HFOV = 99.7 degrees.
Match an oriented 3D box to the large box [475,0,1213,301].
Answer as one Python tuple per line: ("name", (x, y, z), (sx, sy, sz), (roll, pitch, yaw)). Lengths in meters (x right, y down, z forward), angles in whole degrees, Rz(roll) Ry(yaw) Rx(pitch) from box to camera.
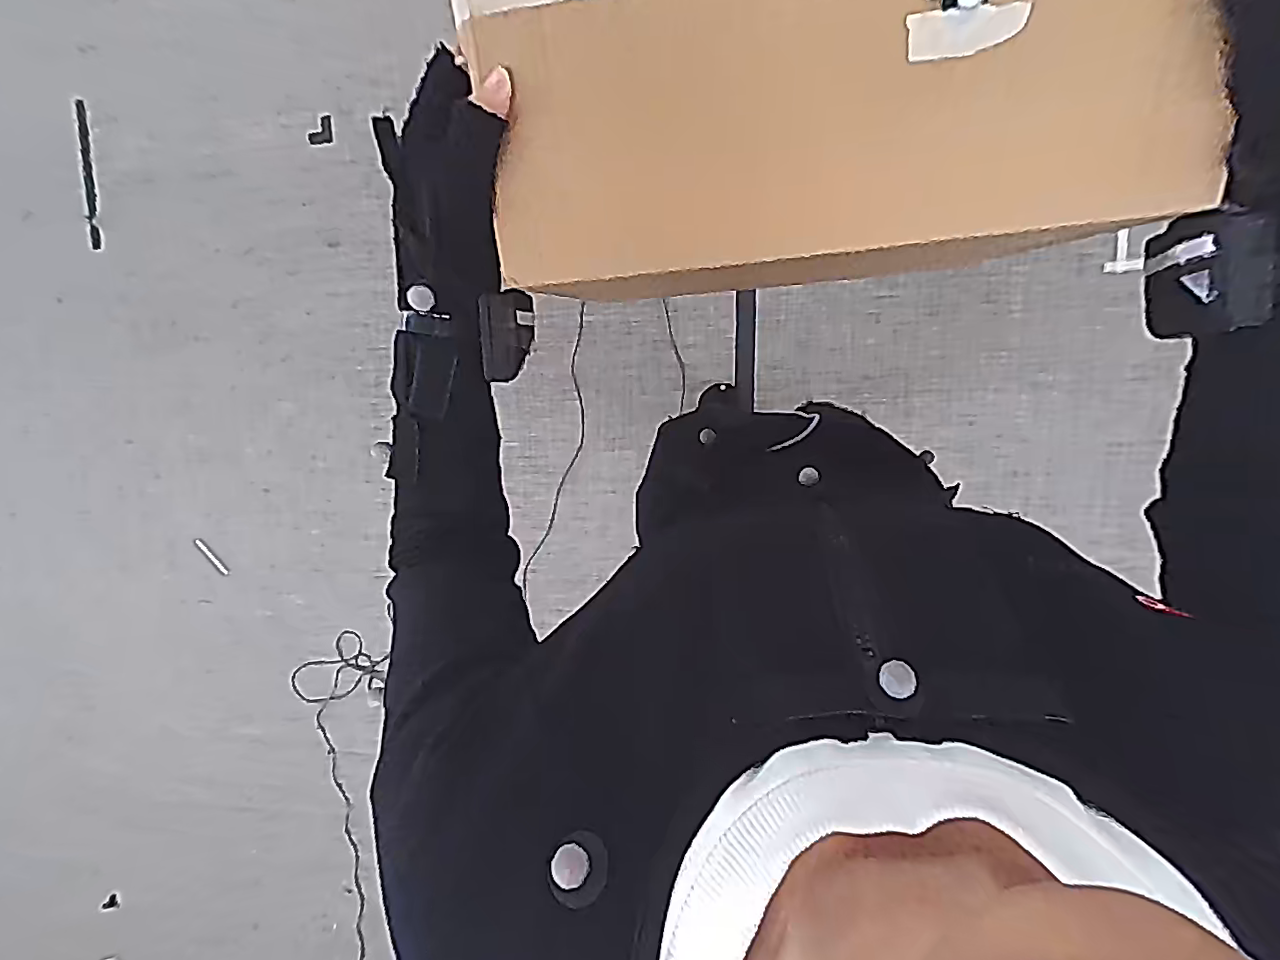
("large box", (0.112, -0.334, 0.437), (0.408, 0.320, 0.320), (-4, 106, 7))
